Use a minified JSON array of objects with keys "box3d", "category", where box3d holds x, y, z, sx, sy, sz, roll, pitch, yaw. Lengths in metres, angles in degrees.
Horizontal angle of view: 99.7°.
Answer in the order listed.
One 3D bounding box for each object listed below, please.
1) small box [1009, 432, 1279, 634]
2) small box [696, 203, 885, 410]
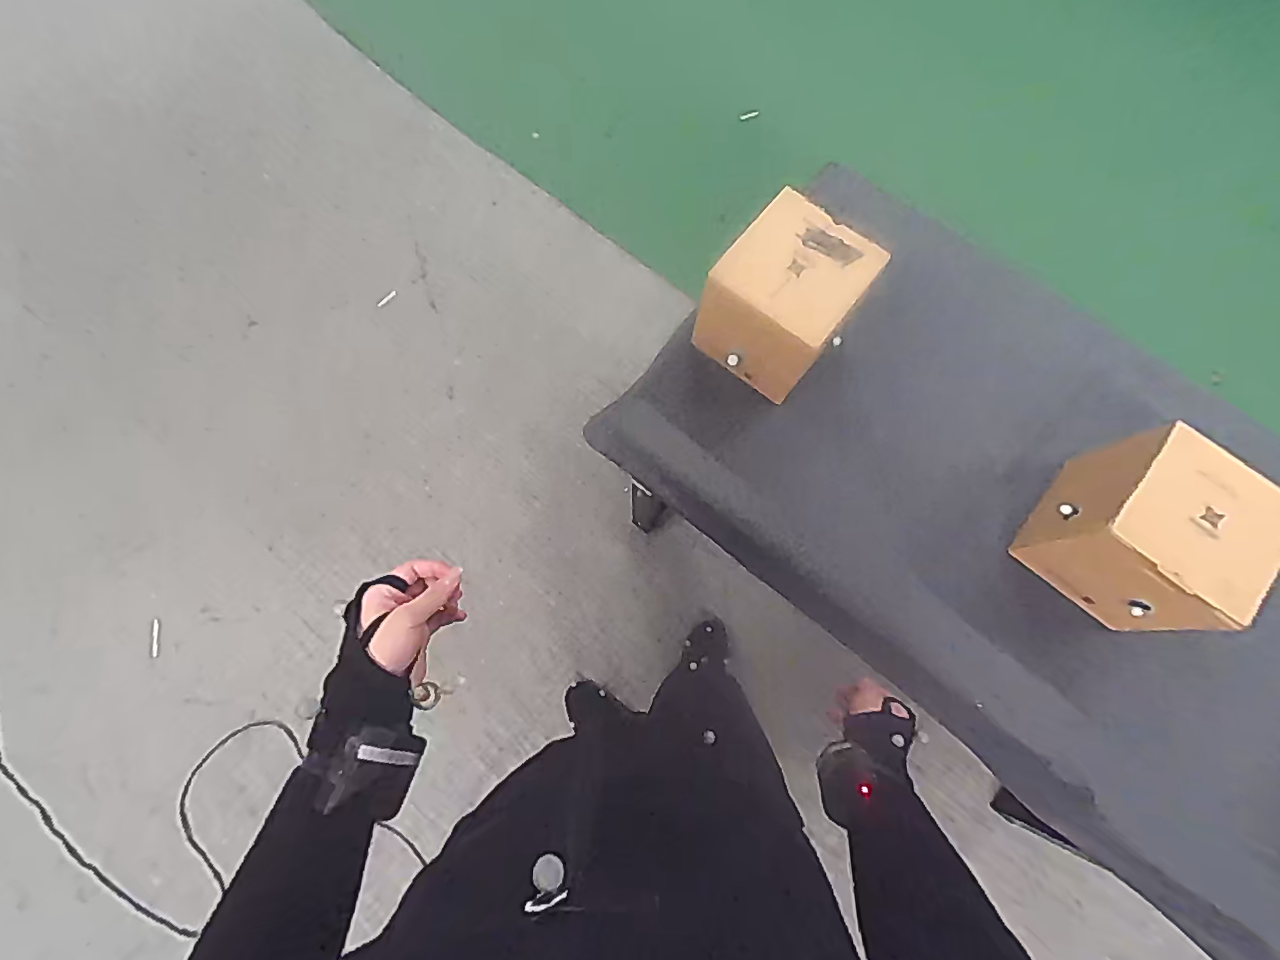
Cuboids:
[{"box3d":[0.622,0.076,0.690,0.168,0.176,0.179,40,76,7],"category":"small box"},{"box3d":[0.195,-0.232,0.758,0.168,0.176,0.179,38,77,8],"category":"small box"}]
